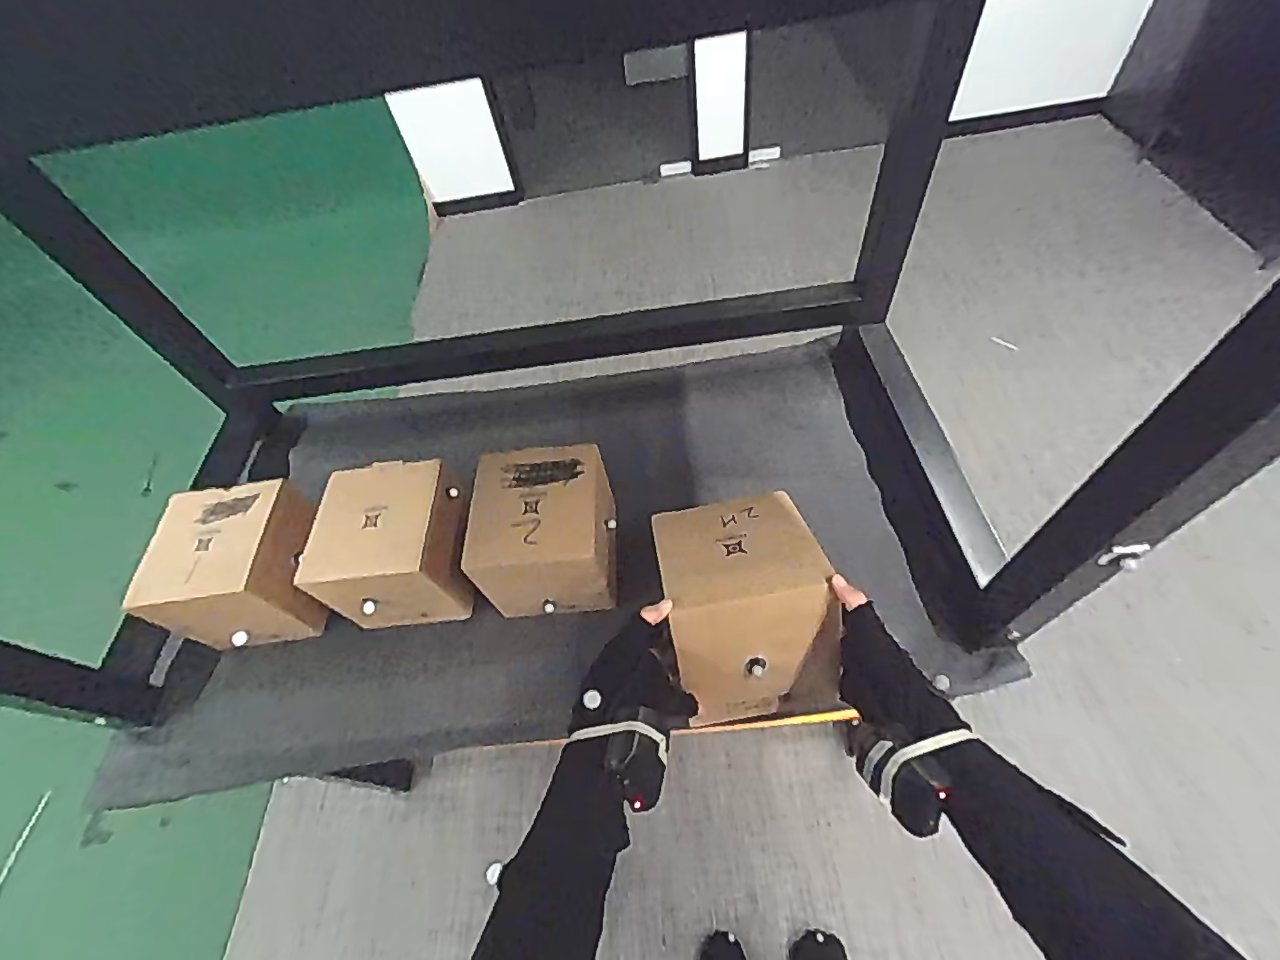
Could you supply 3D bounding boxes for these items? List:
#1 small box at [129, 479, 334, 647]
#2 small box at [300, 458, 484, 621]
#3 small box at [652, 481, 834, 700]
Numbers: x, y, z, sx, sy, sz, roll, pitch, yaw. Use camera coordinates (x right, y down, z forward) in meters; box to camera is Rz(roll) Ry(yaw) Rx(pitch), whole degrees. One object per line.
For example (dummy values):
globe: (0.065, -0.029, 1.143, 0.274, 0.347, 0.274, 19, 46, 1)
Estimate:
small box: (-0.562, 0.124, 0.790, 0.168, 0.176, 0.179, -9, 55, 3)
small box: (-0.338, 0.093, 0.778, 0.168, 0.176, 0.179, -7, 54, 4)
small box: (0.113, 0.127, 0.616, 0.168, 0.176, 0.179, -10, 29, 1)
